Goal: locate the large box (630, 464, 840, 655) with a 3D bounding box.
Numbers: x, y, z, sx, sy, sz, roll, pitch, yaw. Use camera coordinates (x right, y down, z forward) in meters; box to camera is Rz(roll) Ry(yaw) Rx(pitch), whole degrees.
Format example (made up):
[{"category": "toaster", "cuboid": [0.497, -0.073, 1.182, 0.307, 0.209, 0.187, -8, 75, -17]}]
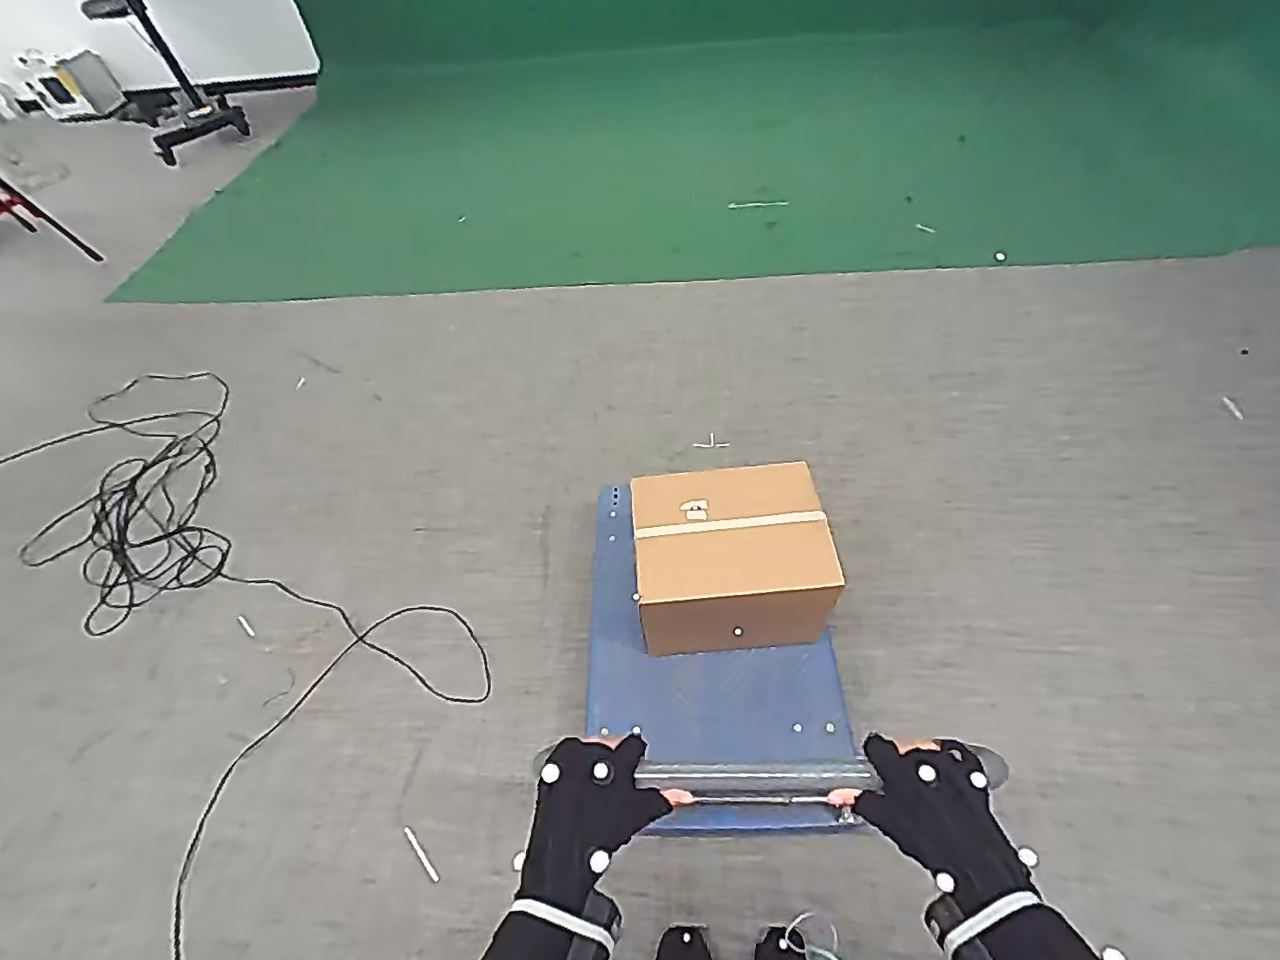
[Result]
[{"category": "large box", "cuboid": [0.203, 0.196, 1.276, 0.408, 0.320, 0.320, -7, 53, 2]}]
